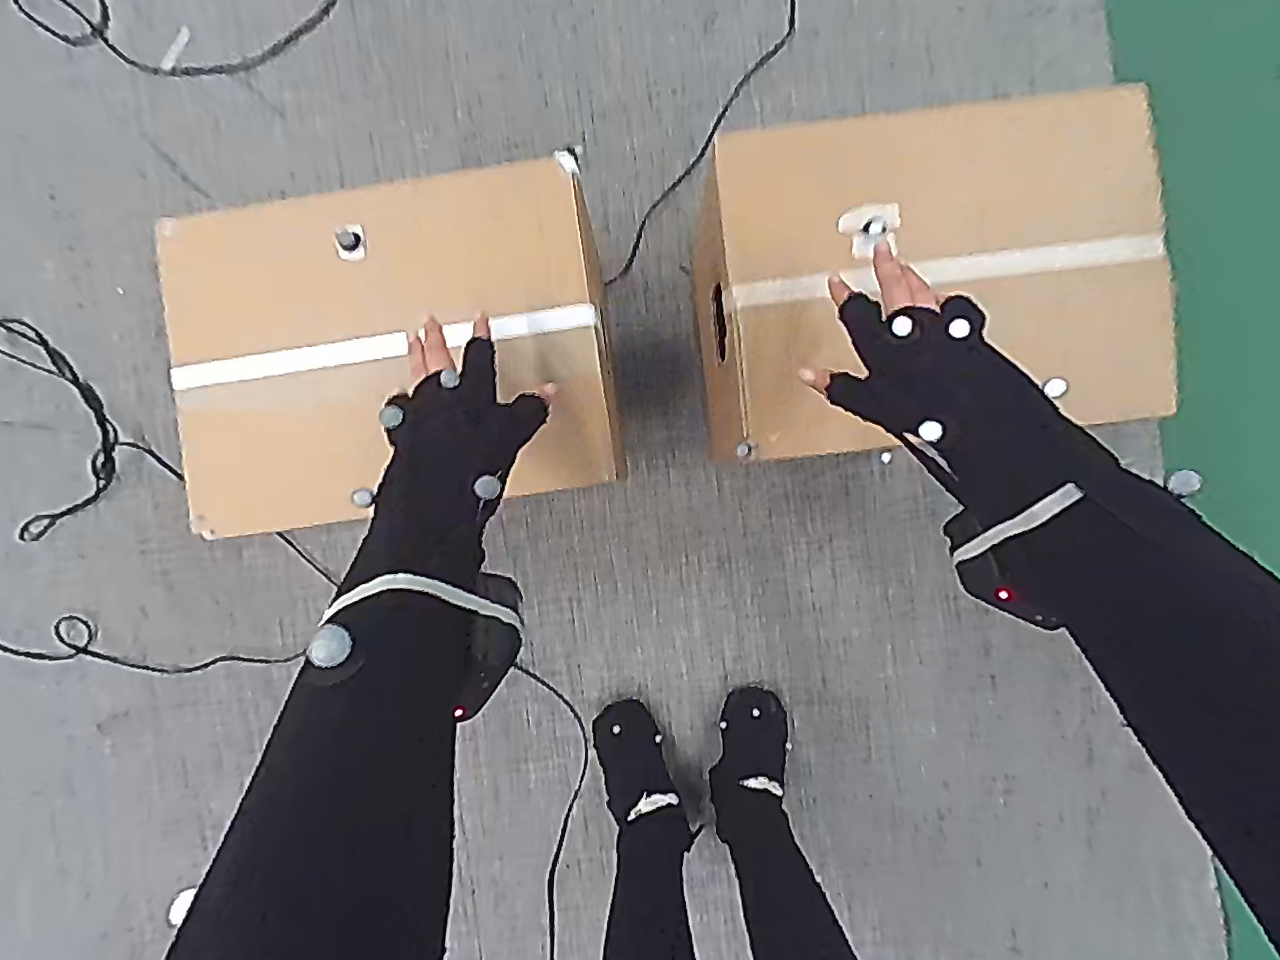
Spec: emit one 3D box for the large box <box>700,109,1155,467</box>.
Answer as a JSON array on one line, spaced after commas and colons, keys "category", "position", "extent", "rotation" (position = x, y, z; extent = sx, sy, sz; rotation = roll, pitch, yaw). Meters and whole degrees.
[{"category": "large box", "position": [0.299, -0.191, 0.680], "extent": [0.408, 0.320, 0.320], "rotation": [-6, 90, 2]}]
